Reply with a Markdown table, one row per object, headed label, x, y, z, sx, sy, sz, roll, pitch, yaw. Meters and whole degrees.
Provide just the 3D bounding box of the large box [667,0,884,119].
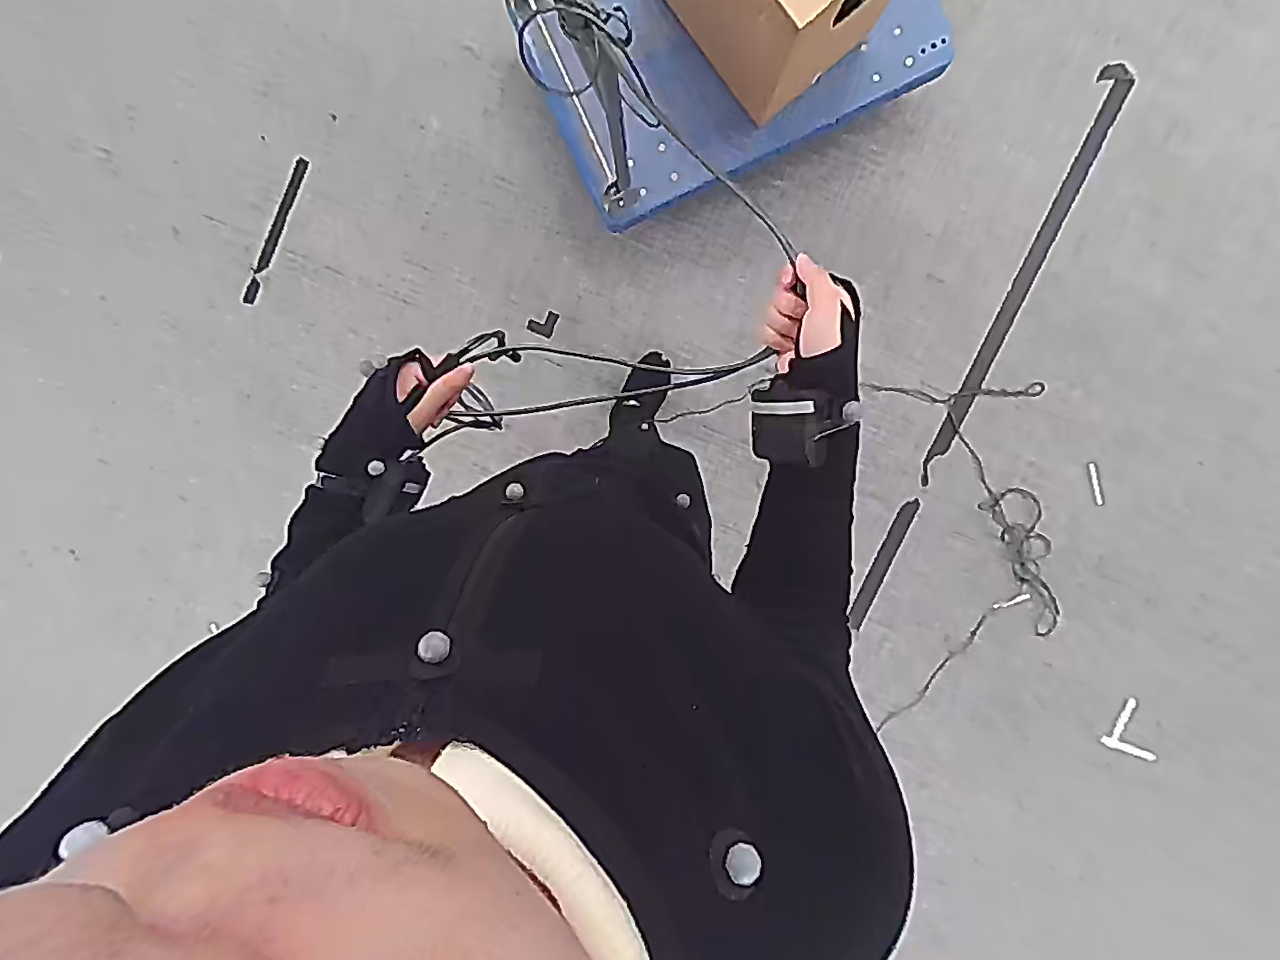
| label | x | y | z | sx | sy | sz | roll | pitch | yaw |
| --- | --- | --- | --- | --- | --- | --- | --- | --- | --- |
| large box | 0.261 | -1.032 | 1.039 | 0.320 | 0.320 | 0.408 | -40 | 96 | 5 |
